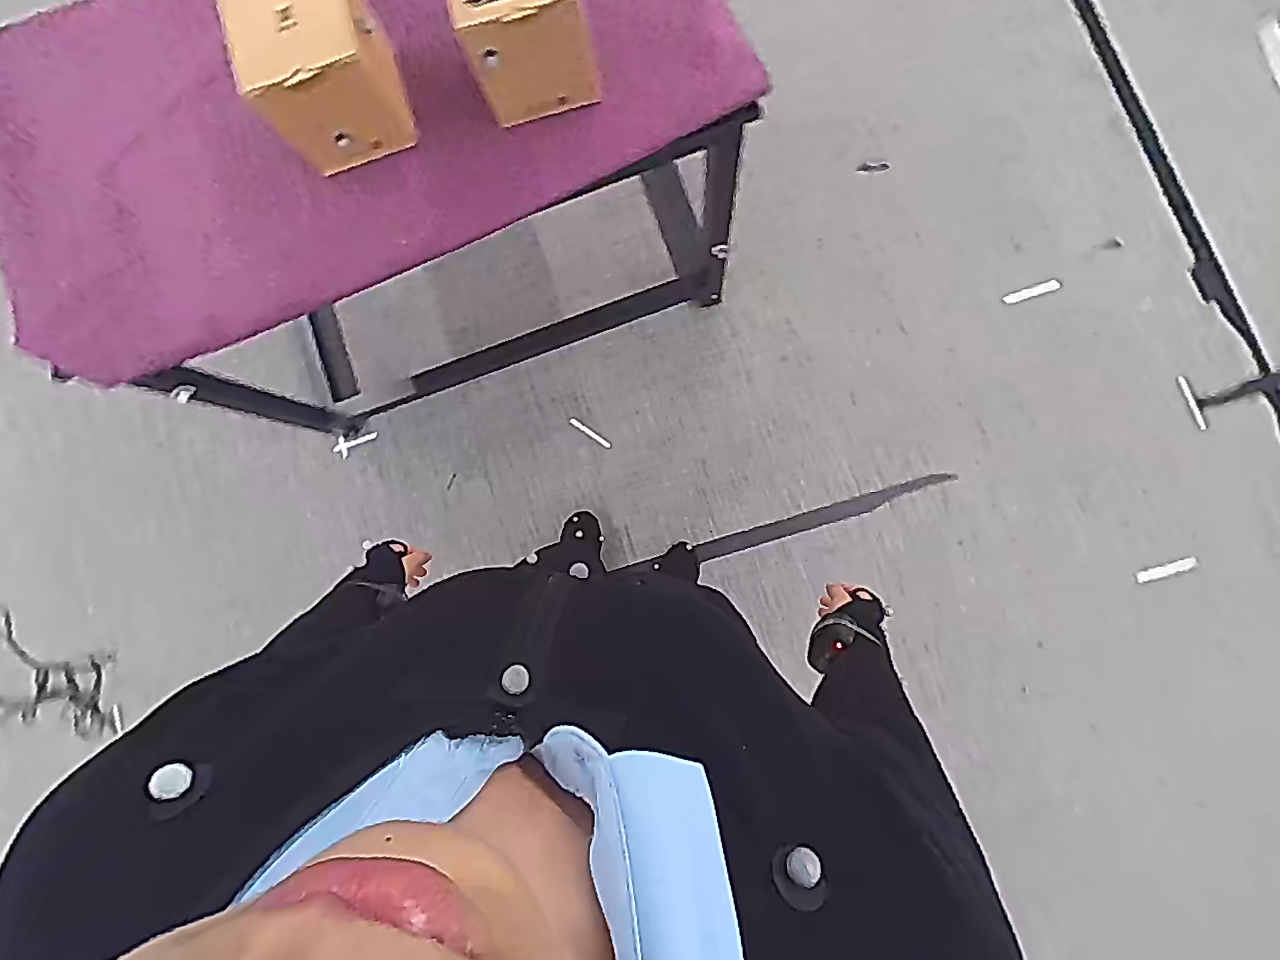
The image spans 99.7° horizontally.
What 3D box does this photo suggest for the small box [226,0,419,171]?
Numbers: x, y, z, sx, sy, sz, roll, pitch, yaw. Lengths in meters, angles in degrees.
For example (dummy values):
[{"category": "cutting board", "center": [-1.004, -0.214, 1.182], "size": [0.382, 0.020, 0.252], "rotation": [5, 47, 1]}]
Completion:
[{"category": "small box", "center": [-0.453, -0.601, 0.790], "size": [0.168, 0.176, 0.179], "rotation": [-17, 84, 3]}]
